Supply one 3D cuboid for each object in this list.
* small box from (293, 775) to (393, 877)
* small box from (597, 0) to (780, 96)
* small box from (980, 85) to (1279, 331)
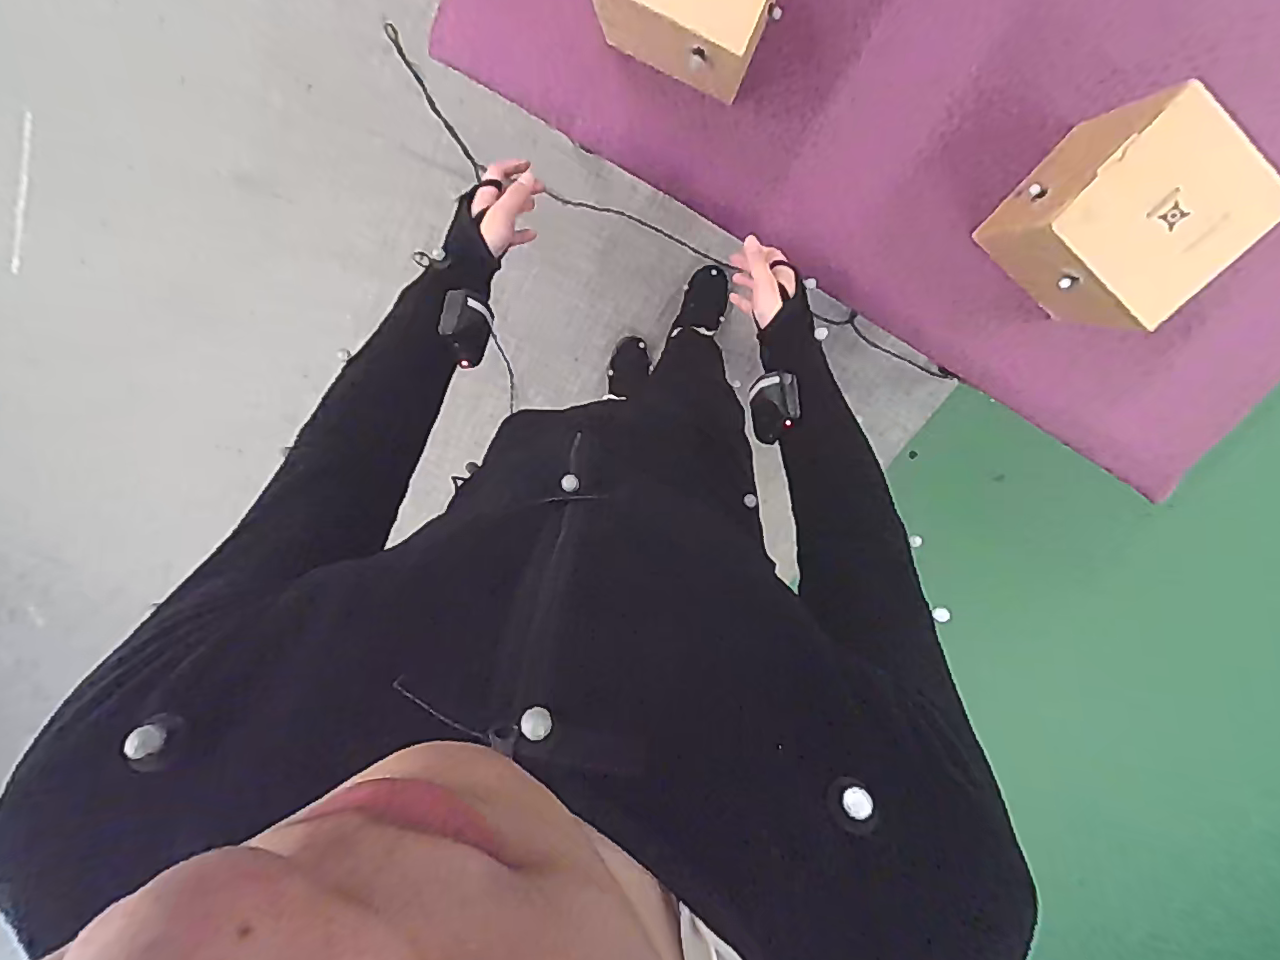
[{"bbox_3d":[-0.875,1.024,1.611,0.179,0.176,0.168,35,111,-9],"label":"small box"},{"bbox_3d":[0.068,-0.548,0.576,0.179,0.176,0.168,25,111,-4],"label":"small box"},{"bbox_3d":[0.549,-0.297,0.630,0.179,0.176,0.168,39,109,-10],"label":"small box"}]
